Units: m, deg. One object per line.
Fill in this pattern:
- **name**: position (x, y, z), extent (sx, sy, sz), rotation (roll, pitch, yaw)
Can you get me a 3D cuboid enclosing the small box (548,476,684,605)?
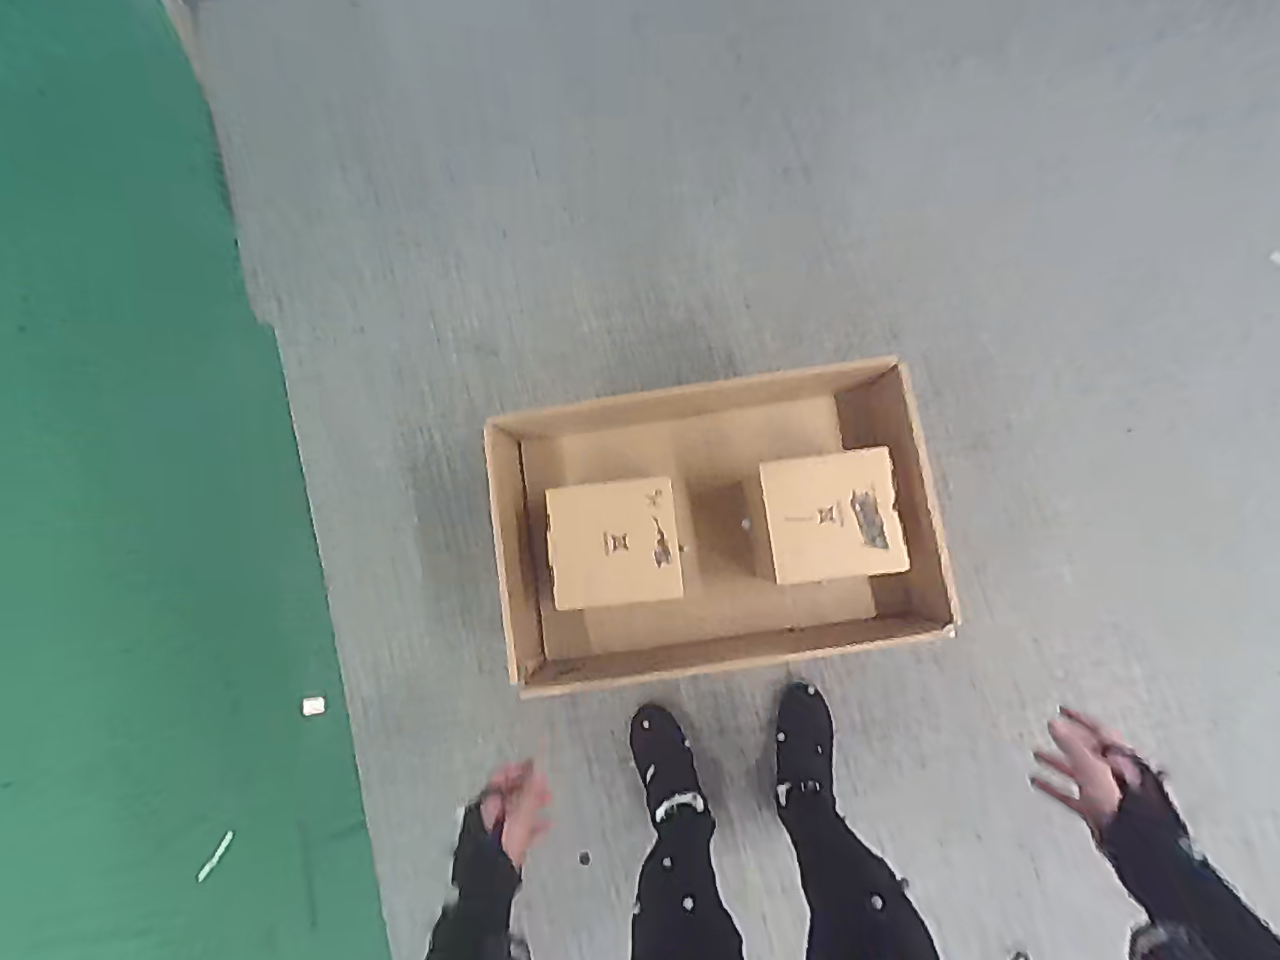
- **small box**: position (-0.029, 0.094, 0.812), extent (0.179, 0.176, 0.168), rotation (-6, 82, 4)
